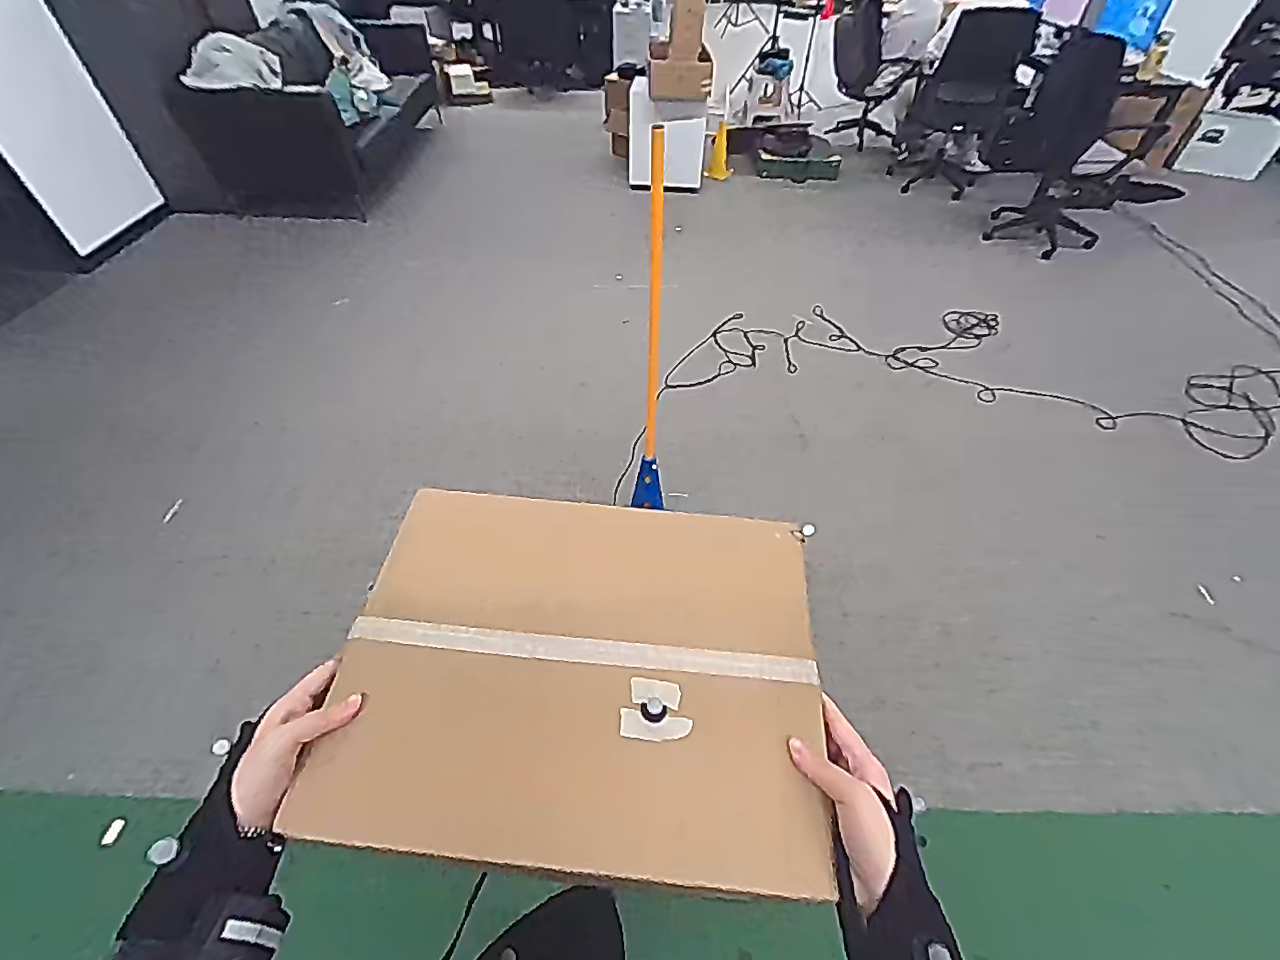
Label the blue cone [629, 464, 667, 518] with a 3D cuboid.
[{"bbox_3d":[0.023,0.083,1.741,0.193,0.380,0.192,7,48,6],"label":"blue cone"}]

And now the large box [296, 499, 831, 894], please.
[{"bbox_3d":[-0.054,0.247,0.601,0.408,0.320,0.320,6,52,1],"label":"large box"}]
